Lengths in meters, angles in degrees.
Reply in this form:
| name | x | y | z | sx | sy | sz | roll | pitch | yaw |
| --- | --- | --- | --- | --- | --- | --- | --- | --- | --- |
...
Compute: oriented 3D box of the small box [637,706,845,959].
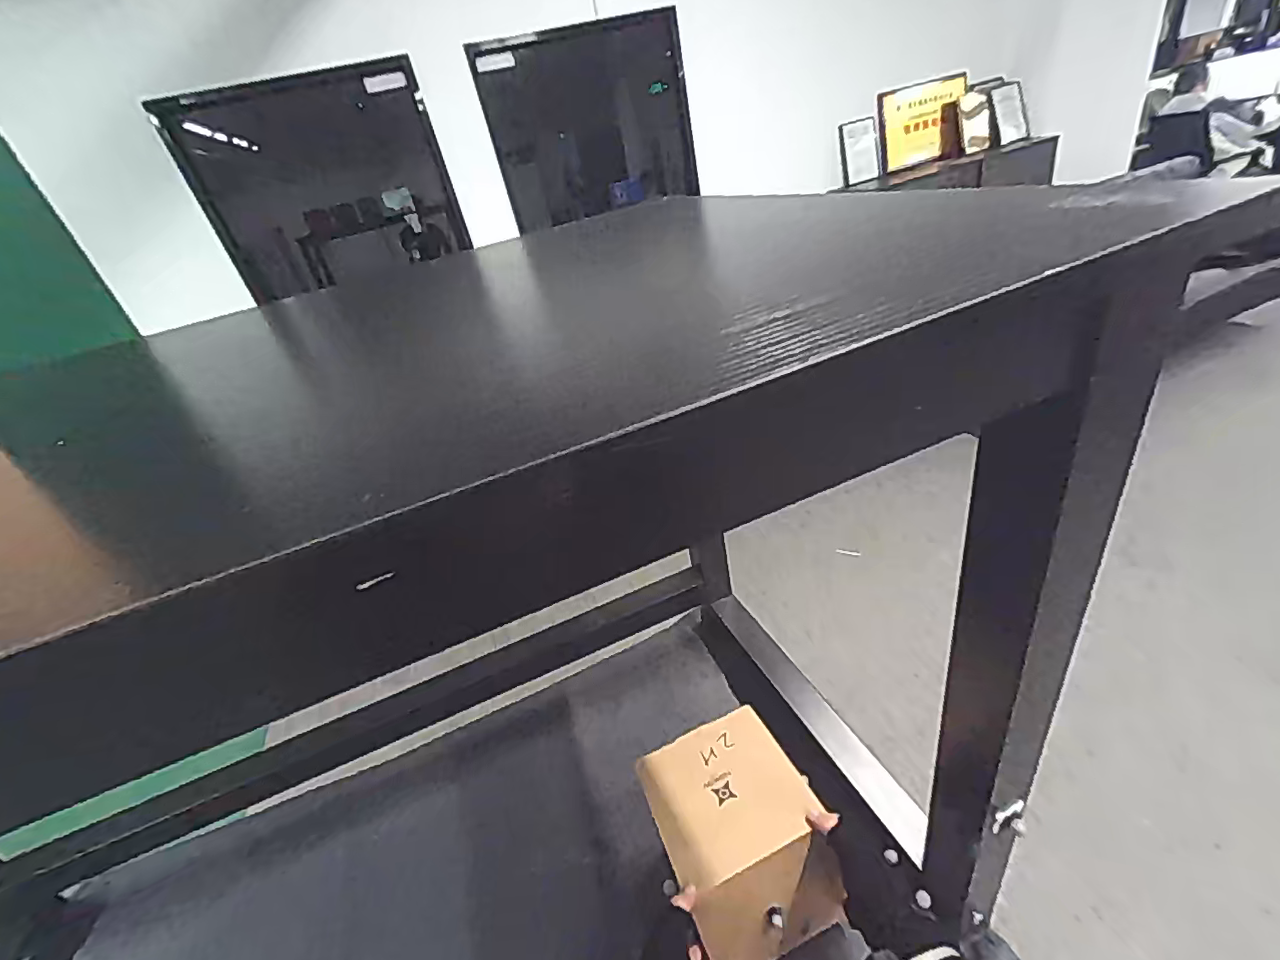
| name | x | y | z | sx | sy | sz | roll | pitch | yaw |
| --- | --- | --- | --- | --- | --- | --- | --- | --- | --- |
| small box | 0.117 | 0.418 | 0.639 | 0.168 | 0.176 | 0.179 | -22 | 23 | -10 |
